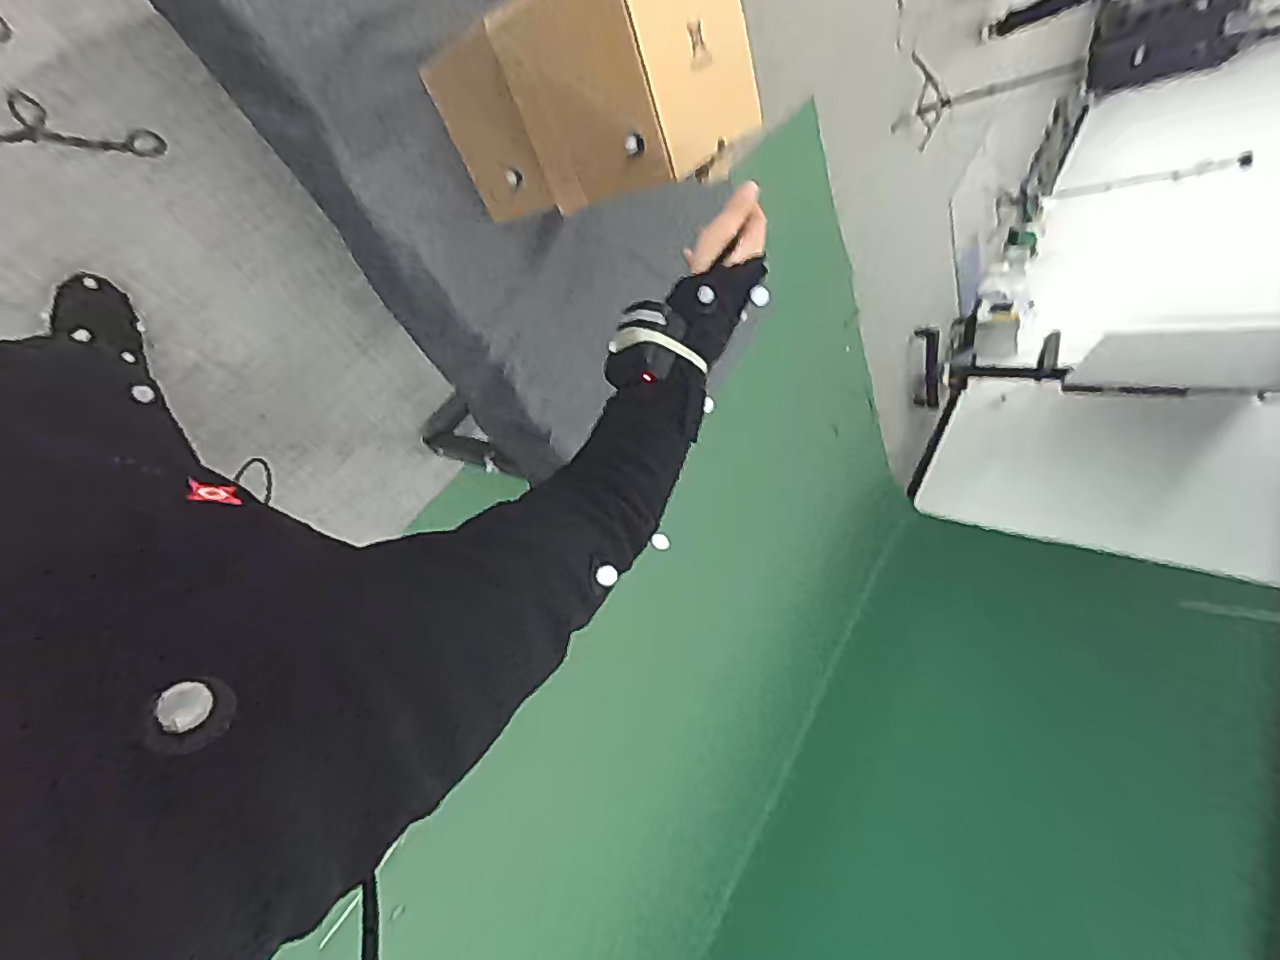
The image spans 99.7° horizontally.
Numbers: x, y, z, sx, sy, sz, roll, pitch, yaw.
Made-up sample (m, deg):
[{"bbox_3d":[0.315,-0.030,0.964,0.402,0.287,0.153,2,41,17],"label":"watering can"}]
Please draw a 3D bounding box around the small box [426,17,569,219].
[{"bbox_3d":[-0.116,-0.434,0.649,0.168,0.176,0.179,-48,130,-29],"label":"small box"}]

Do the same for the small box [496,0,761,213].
[{"bbox_3d":[-0.008,-0.391,0.533,0.168,0.176,0.179,-47,131,-30],"label":"small box"}]
